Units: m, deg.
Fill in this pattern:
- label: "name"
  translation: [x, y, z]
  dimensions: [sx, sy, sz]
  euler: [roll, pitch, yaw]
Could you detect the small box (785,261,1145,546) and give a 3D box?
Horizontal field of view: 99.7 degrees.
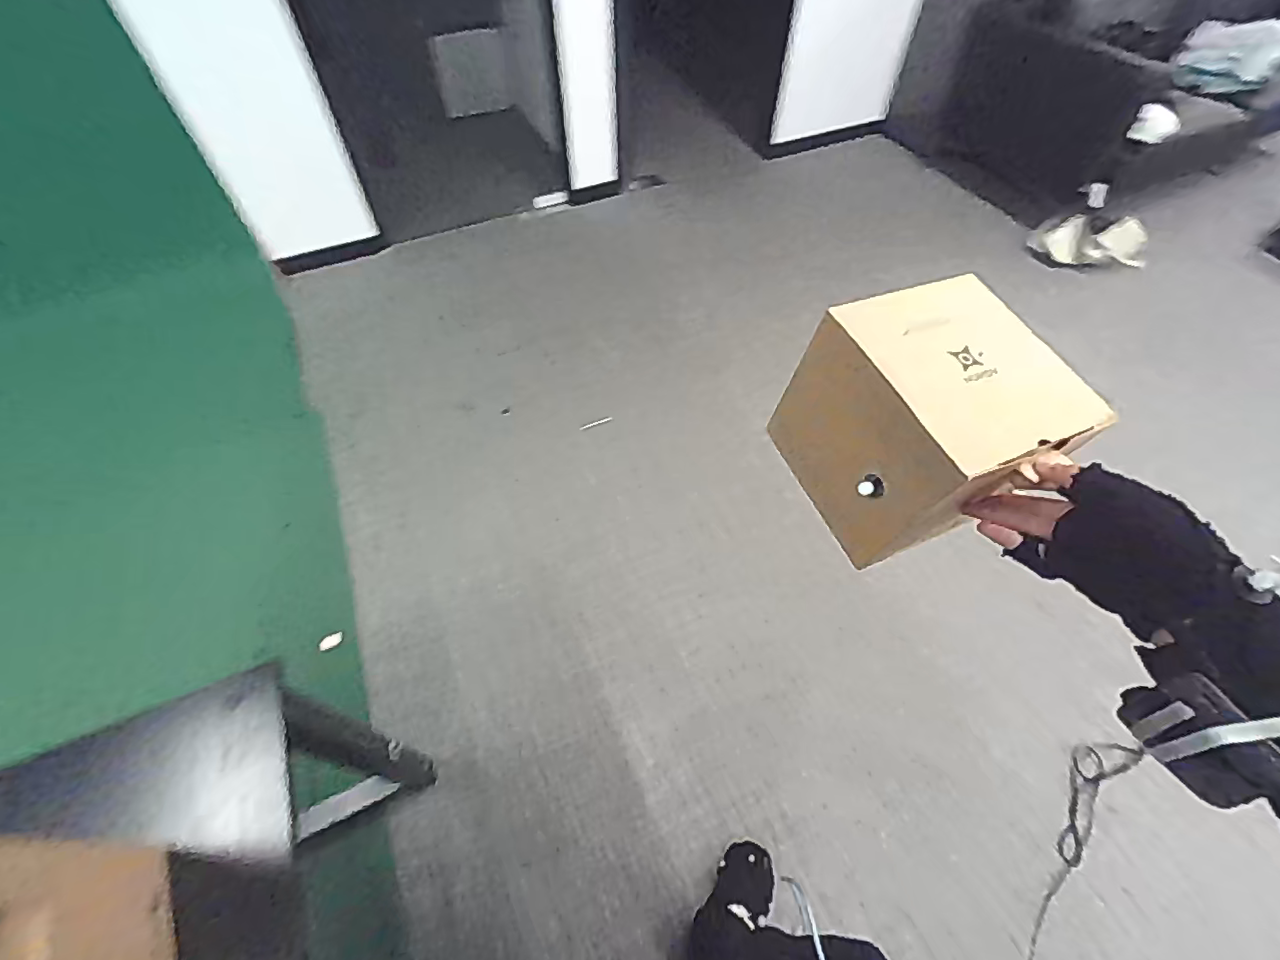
- label: "small box"
  translation: [0.261, -0.058, 0.483]
  dimensions: [0.168, 0.176, 0.179]
  euler: [-17, 62, -17]
